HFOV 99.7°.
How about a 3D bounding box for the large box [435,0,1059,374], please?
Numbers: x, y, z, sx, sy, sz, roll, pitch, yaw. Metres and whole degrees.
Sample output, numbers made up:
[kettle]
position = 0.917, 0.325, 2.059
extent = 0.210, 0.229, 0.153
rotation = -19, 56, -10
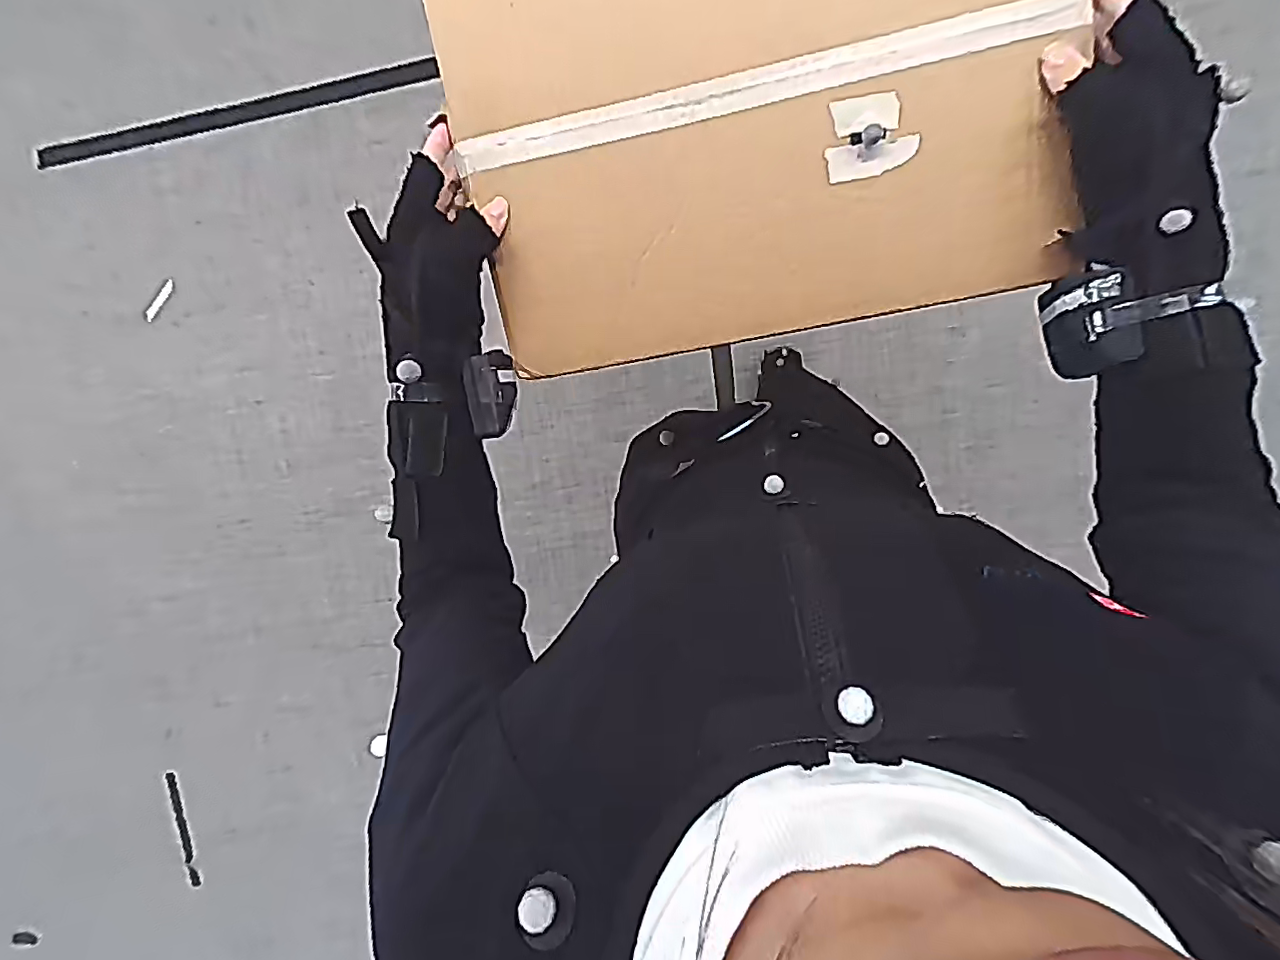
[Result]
[large box]
position = 0.083, -0.301, 0.514
extent = 0.408, 0.320, 0.320
rotation = -10, 105, 6
